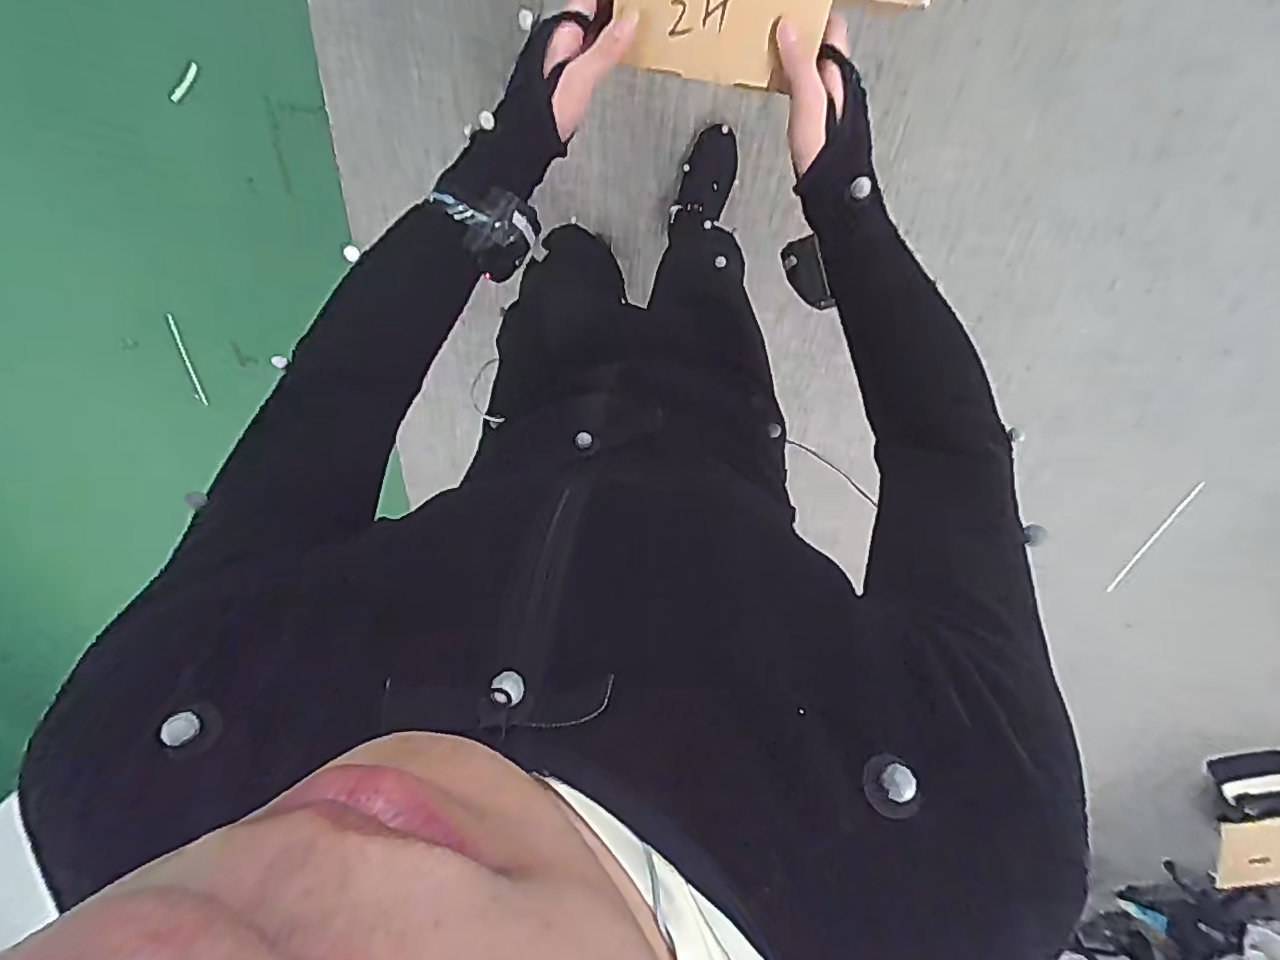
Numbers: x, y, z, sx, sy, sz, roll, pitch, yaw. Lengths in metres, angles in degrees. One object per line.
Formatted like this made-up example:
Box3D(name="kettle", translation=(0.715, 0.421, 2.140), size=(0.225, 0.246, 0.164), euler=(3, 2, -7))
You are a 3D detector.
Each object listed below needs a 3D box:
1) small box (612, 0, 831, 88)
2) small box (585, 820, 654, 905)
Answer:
Box3D(name="small box", translation=(0.071, -0.450, 0.435), size=(0.168, 0.176, 0.179), euler=(7, 136, -4))
Box3D(name="small box", translation=(-0.063, 1.216, 1.727), size=(0.179, 0.176, 0.168), euler=(15, 127, -3))
